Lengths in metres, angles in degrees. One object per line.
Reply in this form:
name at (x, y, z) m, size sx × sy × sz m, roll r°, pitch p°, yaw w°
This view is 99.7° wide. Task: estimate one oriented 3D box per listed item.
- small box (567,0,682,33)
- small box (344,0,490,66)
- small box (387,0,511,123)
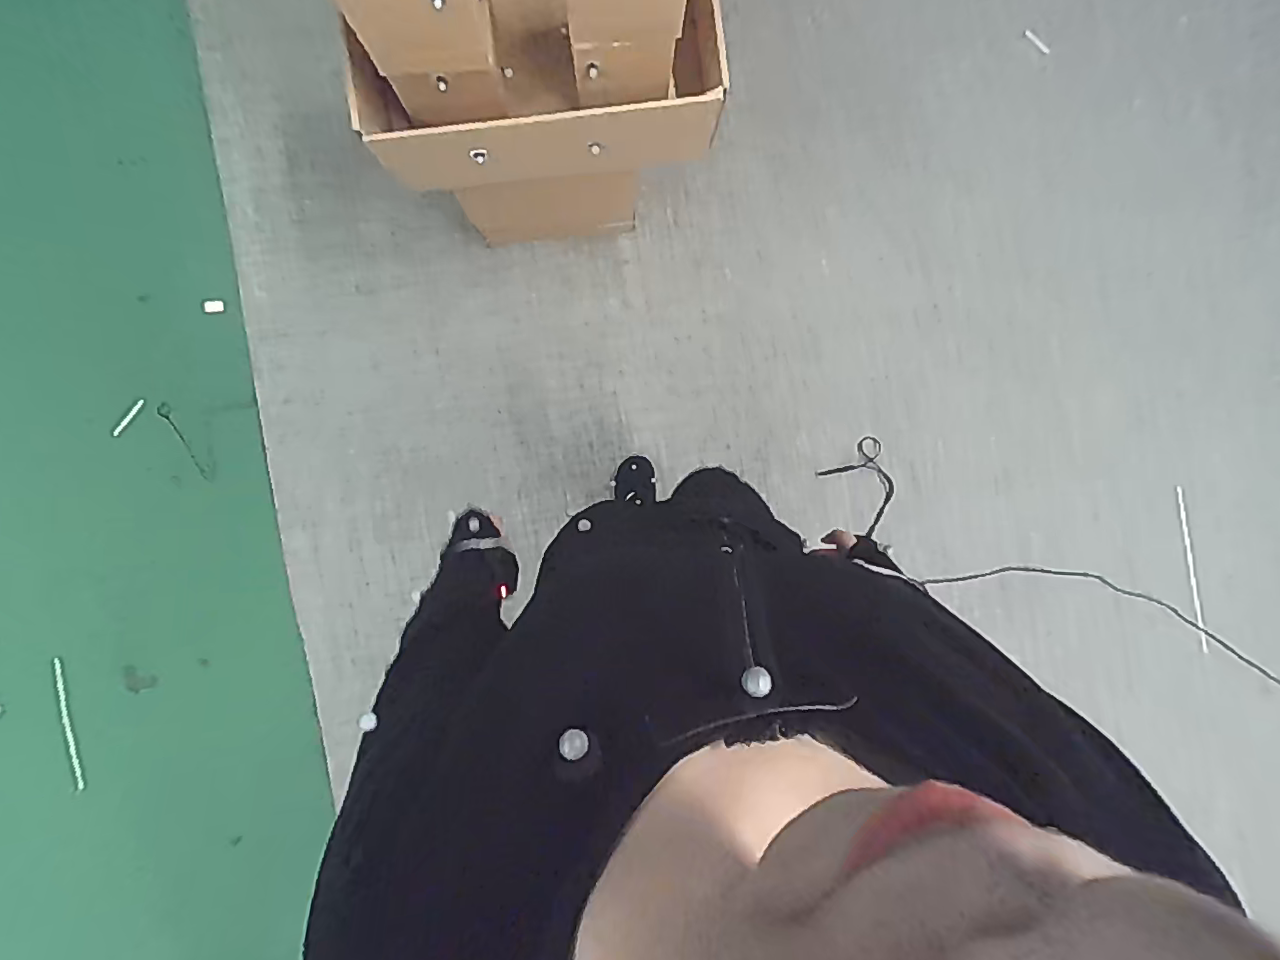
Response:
small box at (-0.025, -0.772, 0.756) m, size 0.179 × 0.176 × 0.168 m, roll -5°, pitch 91°, yaw -3°
small box at (-0.322, -0.718, 0.752) m, size 0.179 × 0.176 × 0.168 m, roll -6°, pitch 93°, yaw -2°
small box at (-0.328, -0.738, 0.914) m, size 0.179 × 0.176 × 0.168 m, roll -6°, pitch 92°, yaw -3°
